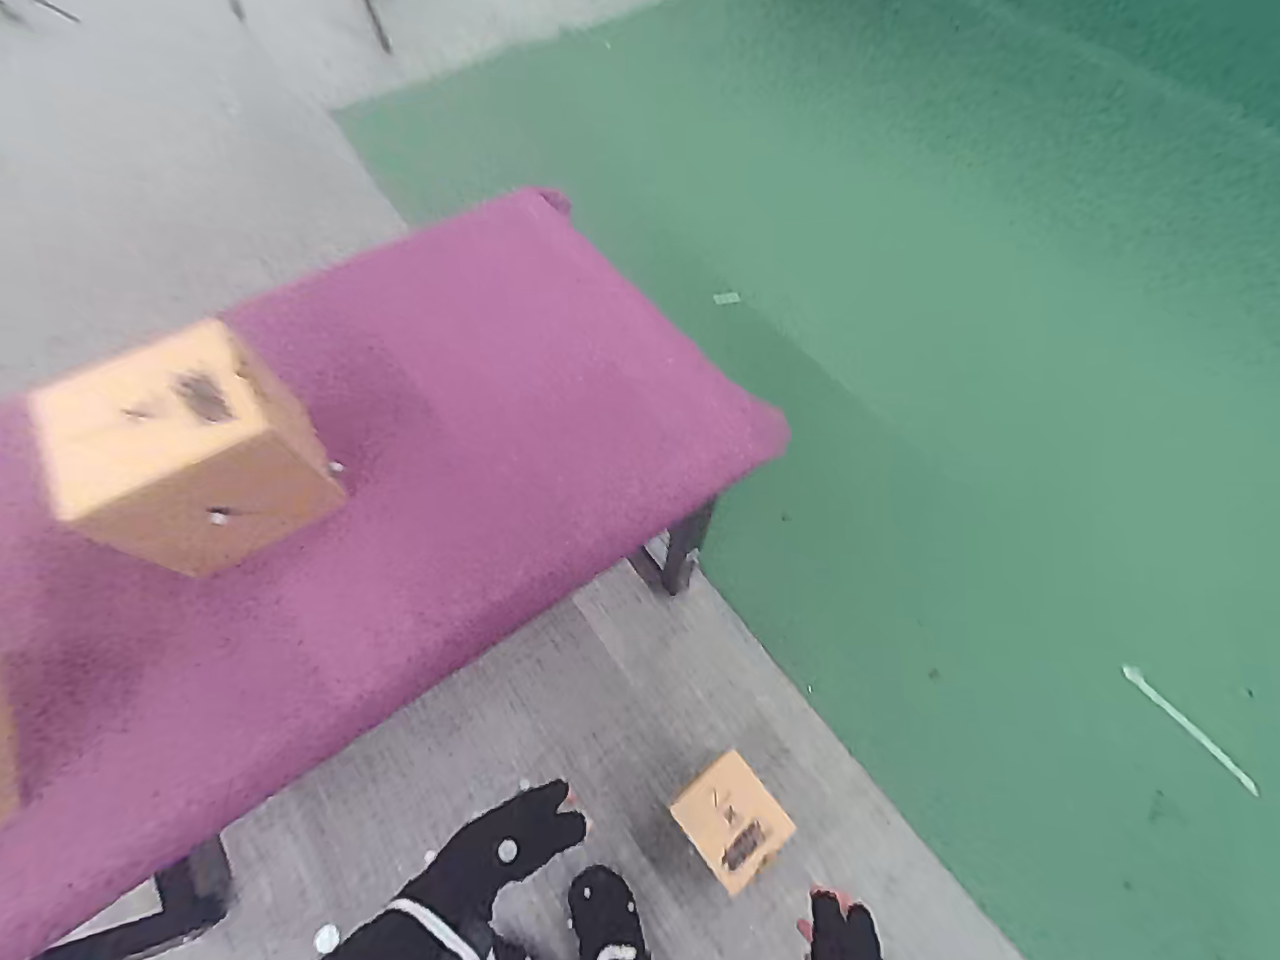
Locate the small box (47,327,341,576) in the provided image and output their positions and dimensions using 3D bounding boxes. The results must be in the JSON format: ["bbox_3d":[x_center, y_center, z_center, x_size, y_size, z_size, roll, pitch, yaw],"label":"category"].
[{"bbox_3d":[-0.457,-0.024,0.585,0.179,0.176,0.168,-30,67,-16],"label":"small box"}]
